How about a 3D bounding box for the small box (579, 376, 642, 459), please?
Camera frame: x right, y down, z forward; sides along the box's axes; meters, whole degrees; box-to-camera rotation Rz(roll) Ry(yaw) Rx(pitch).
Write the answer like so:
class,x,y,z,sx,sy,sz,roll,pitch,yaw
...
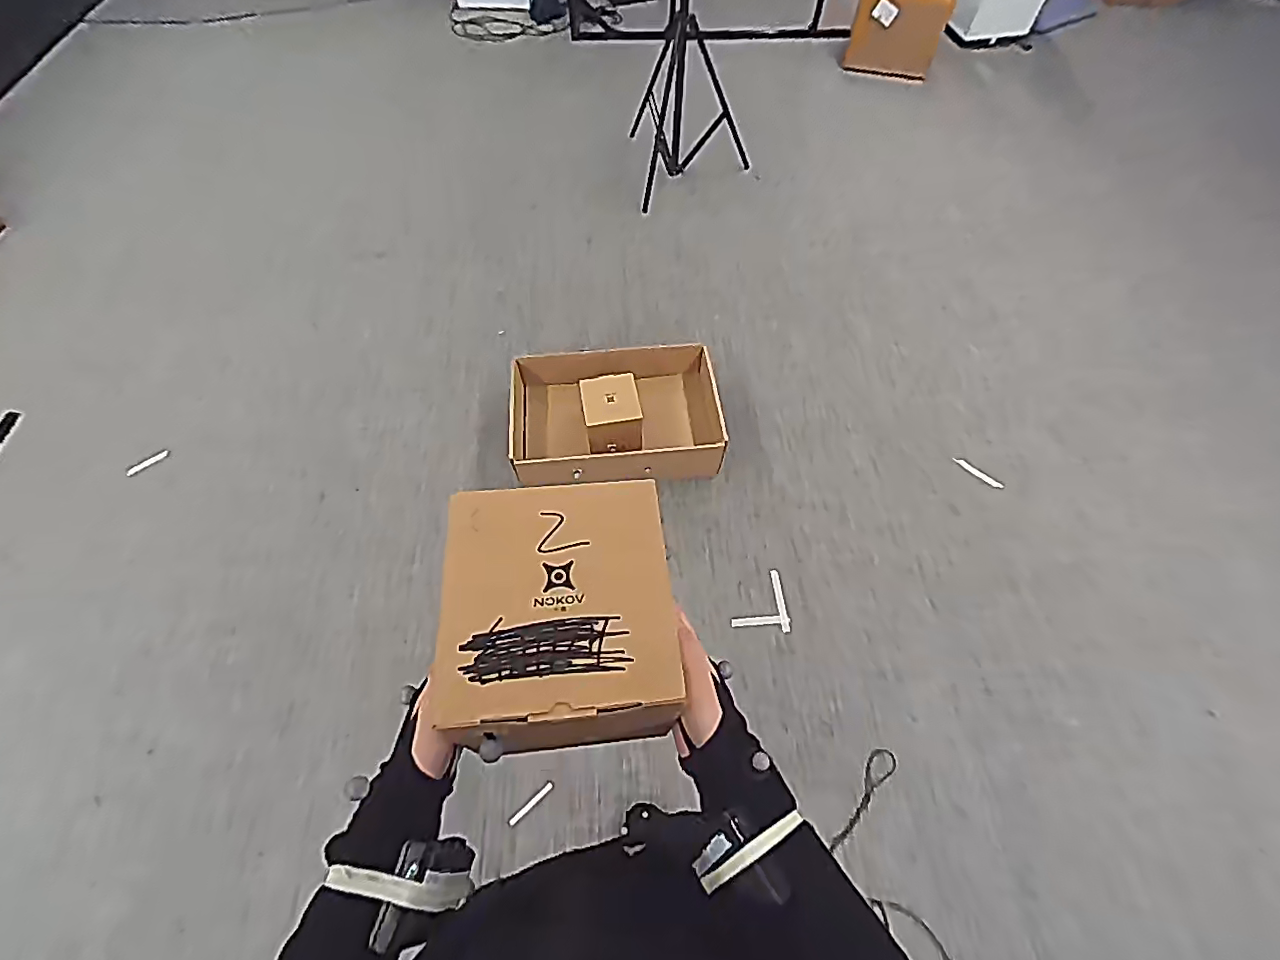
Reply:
class,x,y,z,sx,sy,sz,roll,pitch,yaw
small box,-0.090,-0.187,1.650,0.168,0.176,0.179,-10,61,-5
